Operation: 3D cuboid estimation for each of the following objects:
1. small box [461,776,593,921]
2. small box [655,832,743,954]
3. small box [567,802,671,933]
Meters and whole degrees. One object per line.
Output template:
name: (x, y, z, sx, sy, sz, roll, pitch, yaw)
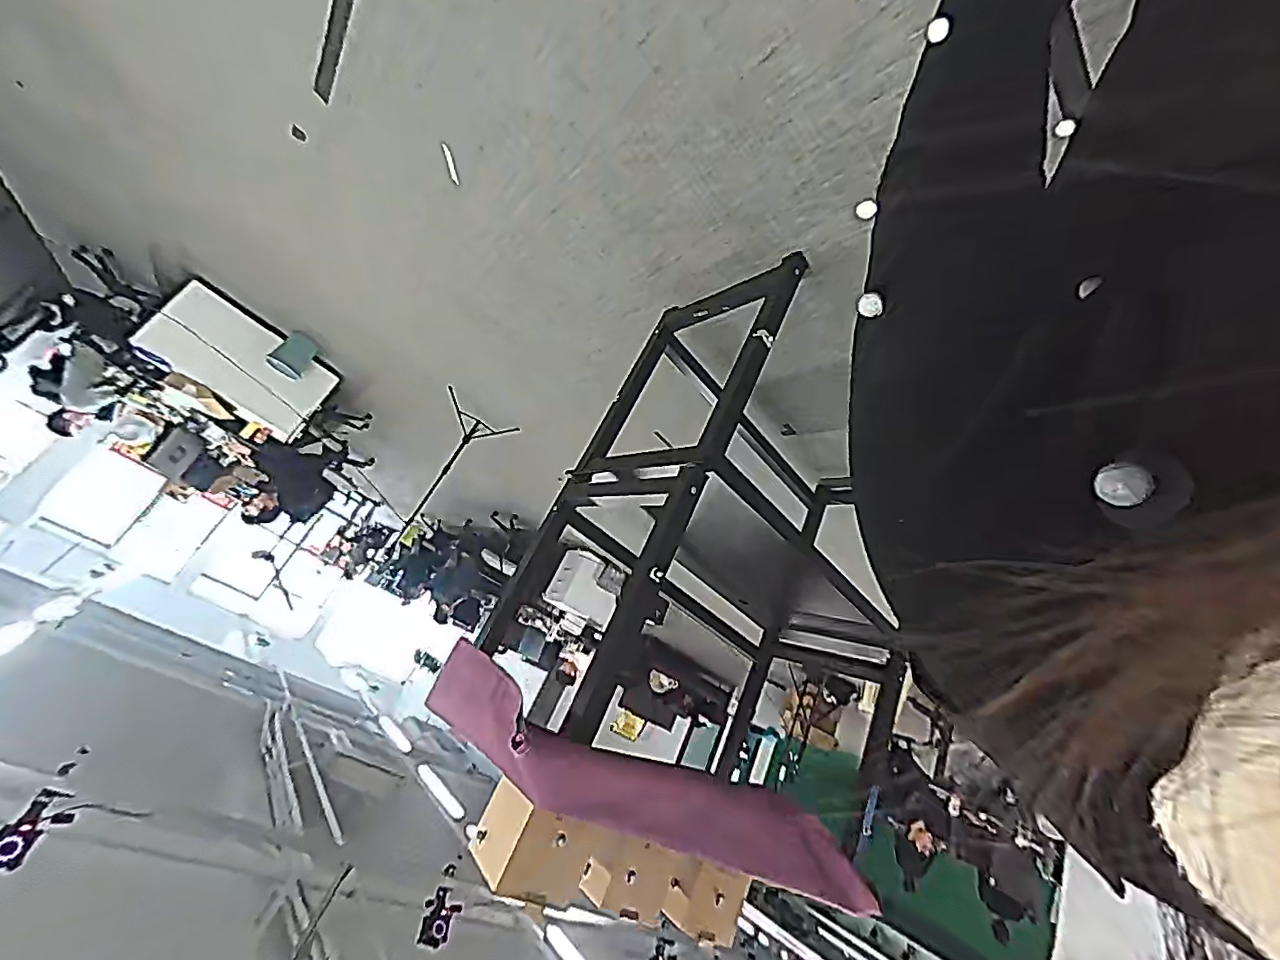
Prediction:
small box: (-0.218, 0.710, 1.064, 0.168, 0.176, 0.179, 36, 156, -24)
small box: (0.132, 1.010, 1.337, 0.168, 0.176, 0.179, 36, 155, -19)
small box: (-0.052, 0.856, 1.208, 0.168, 0.176, 0.179, 39, 155, -26)
